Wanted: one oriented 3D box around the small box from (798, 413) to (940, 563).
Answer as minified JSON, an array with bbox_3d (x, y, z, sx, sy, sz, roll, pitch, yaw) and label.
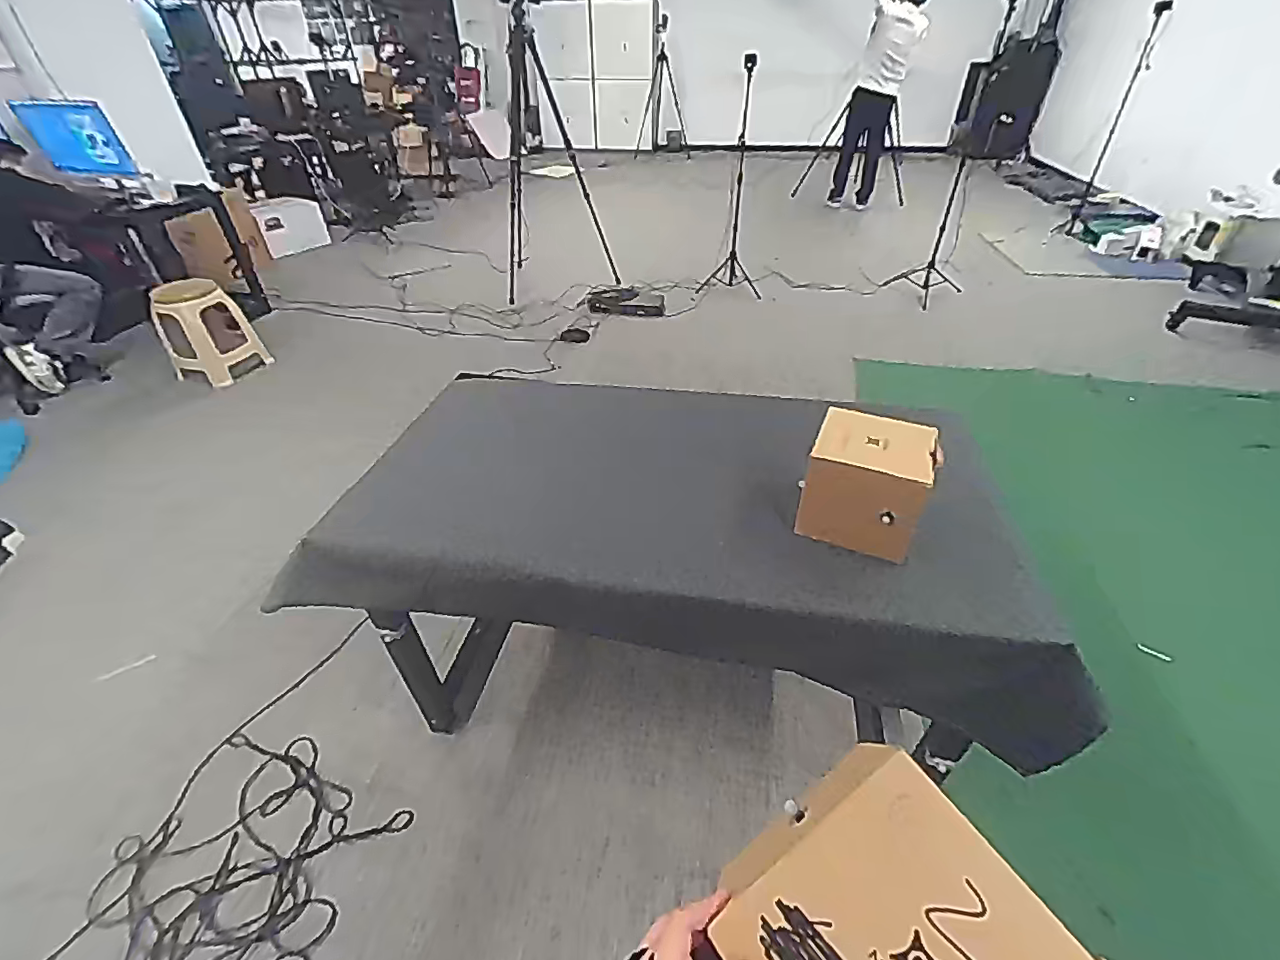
[{"bbox_3d":[0.378,0.013,0.903,0.179,0.176,0.168,15,40,21],"label":"small box"}]
